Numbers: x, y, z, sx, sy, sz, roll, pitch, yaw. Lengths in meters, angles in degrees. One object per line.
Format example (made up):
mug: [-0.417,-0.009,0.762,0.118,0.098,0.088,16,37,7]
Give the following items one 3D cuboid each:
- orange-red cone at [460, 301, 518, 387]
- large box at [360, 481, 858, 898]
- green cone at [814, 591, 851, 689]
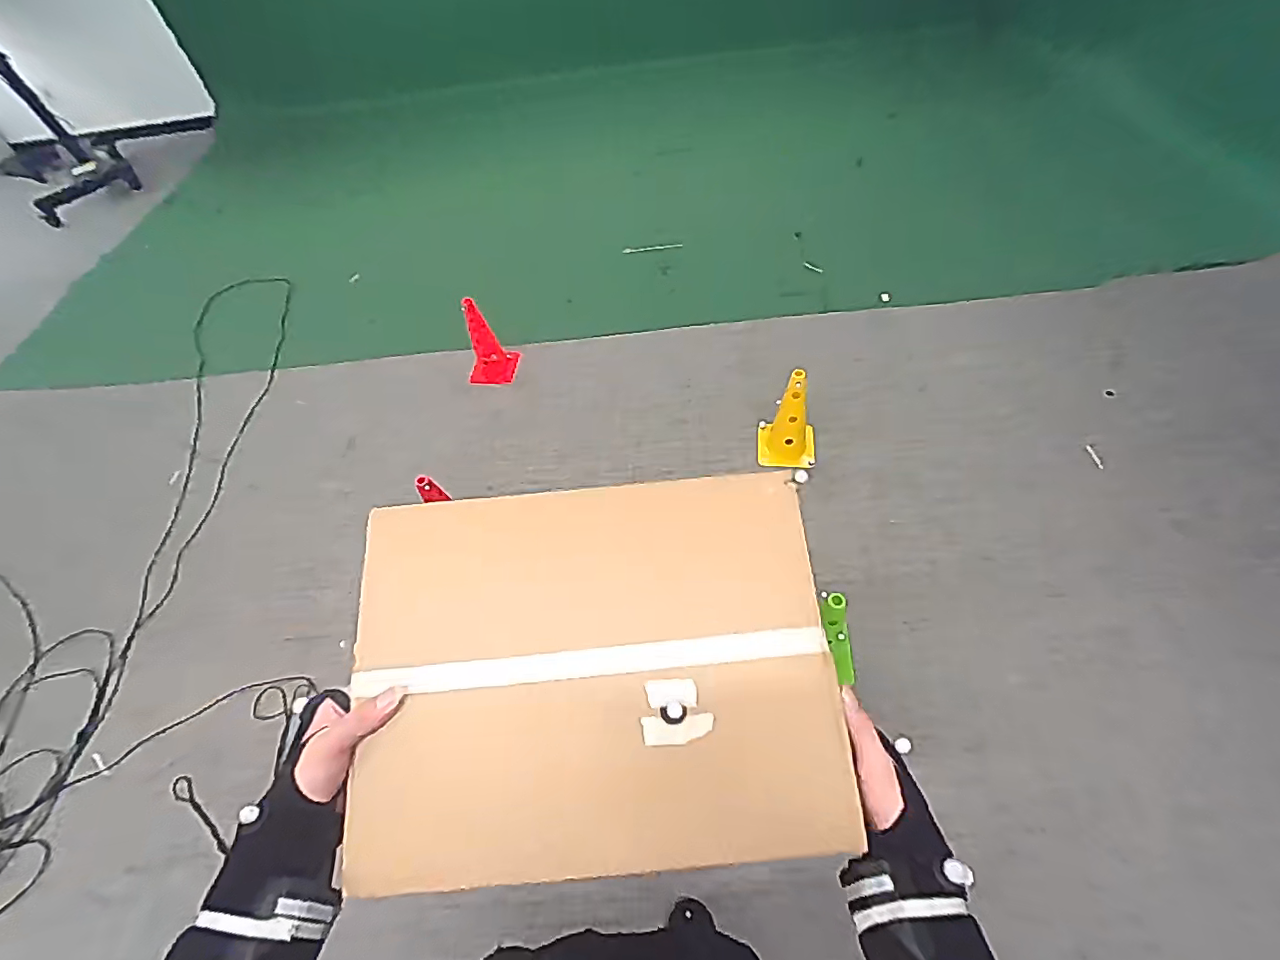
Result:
orange-red cone: [-0.671,-0.583,2.253,0.199,0.360,0.198,1,53,9]
large box: [-0.036,0.214,0.614,0.408,0.320,0.320,-5,70,-1]
green cone: [0.478,0.391,1.416,0.200,0.368,0.202,0,53,6]
